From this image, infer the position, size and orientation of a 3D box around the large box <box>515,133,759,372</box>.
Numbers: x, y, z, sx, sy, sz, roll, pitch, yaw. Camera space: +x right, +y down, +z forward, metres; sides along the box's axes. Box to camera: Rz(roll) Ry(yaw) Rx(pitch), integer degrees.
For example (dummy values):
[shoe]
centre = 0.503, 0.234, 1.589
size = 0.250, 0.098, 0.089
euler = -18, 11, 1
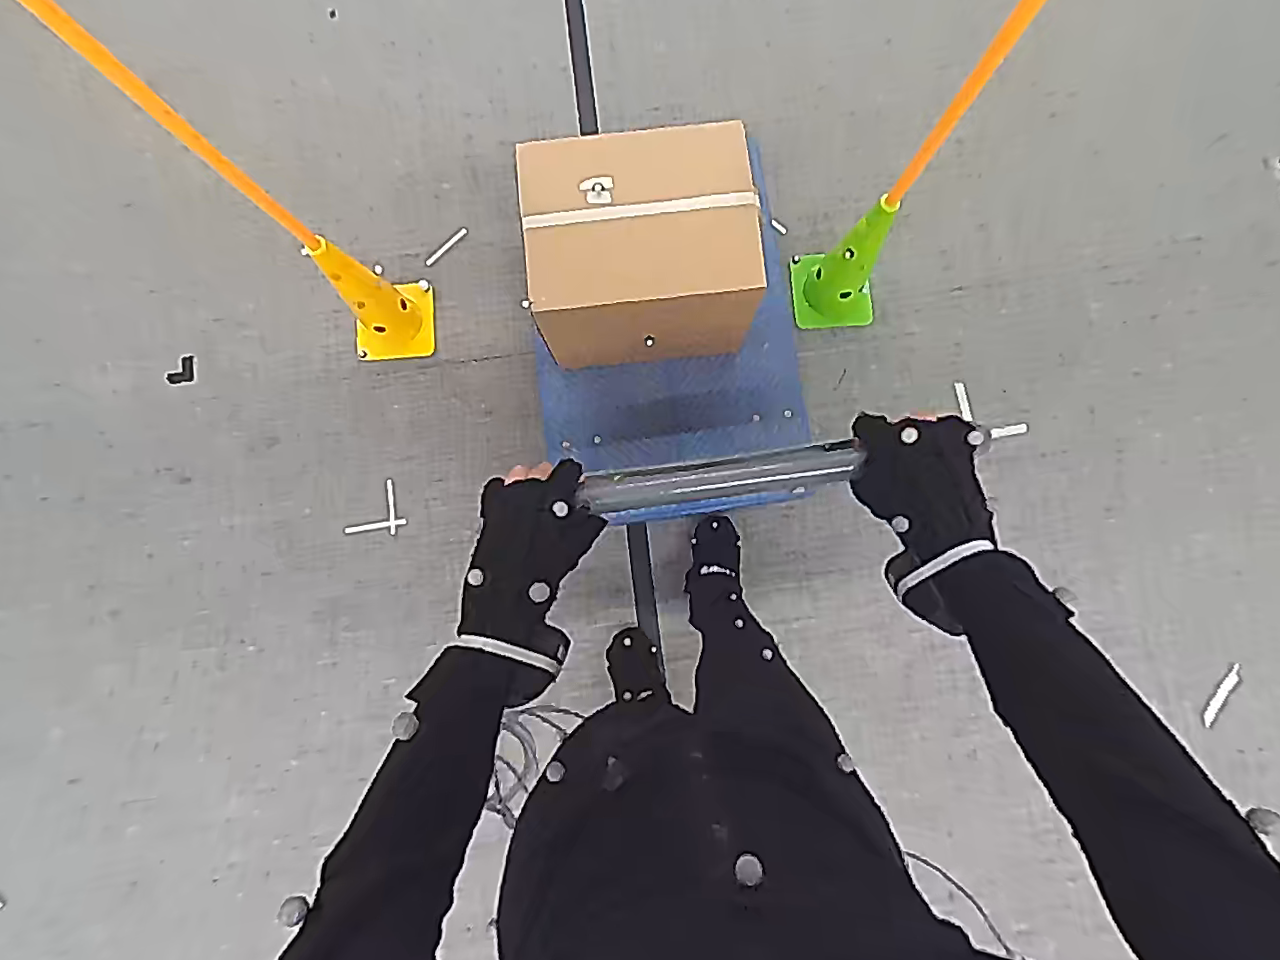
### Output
[large box]
centre = -0.004, -0.427, 1.093
size = 0.408, 0.320, 0.320
euler = -6, 83, 1

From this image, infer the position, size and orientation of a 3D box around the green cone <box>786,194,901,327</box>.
[green cone]
centre = 0.489, -0.519, 1.240
size = 0.202, 0.368, 0.200
euler = -4, 83, -1
